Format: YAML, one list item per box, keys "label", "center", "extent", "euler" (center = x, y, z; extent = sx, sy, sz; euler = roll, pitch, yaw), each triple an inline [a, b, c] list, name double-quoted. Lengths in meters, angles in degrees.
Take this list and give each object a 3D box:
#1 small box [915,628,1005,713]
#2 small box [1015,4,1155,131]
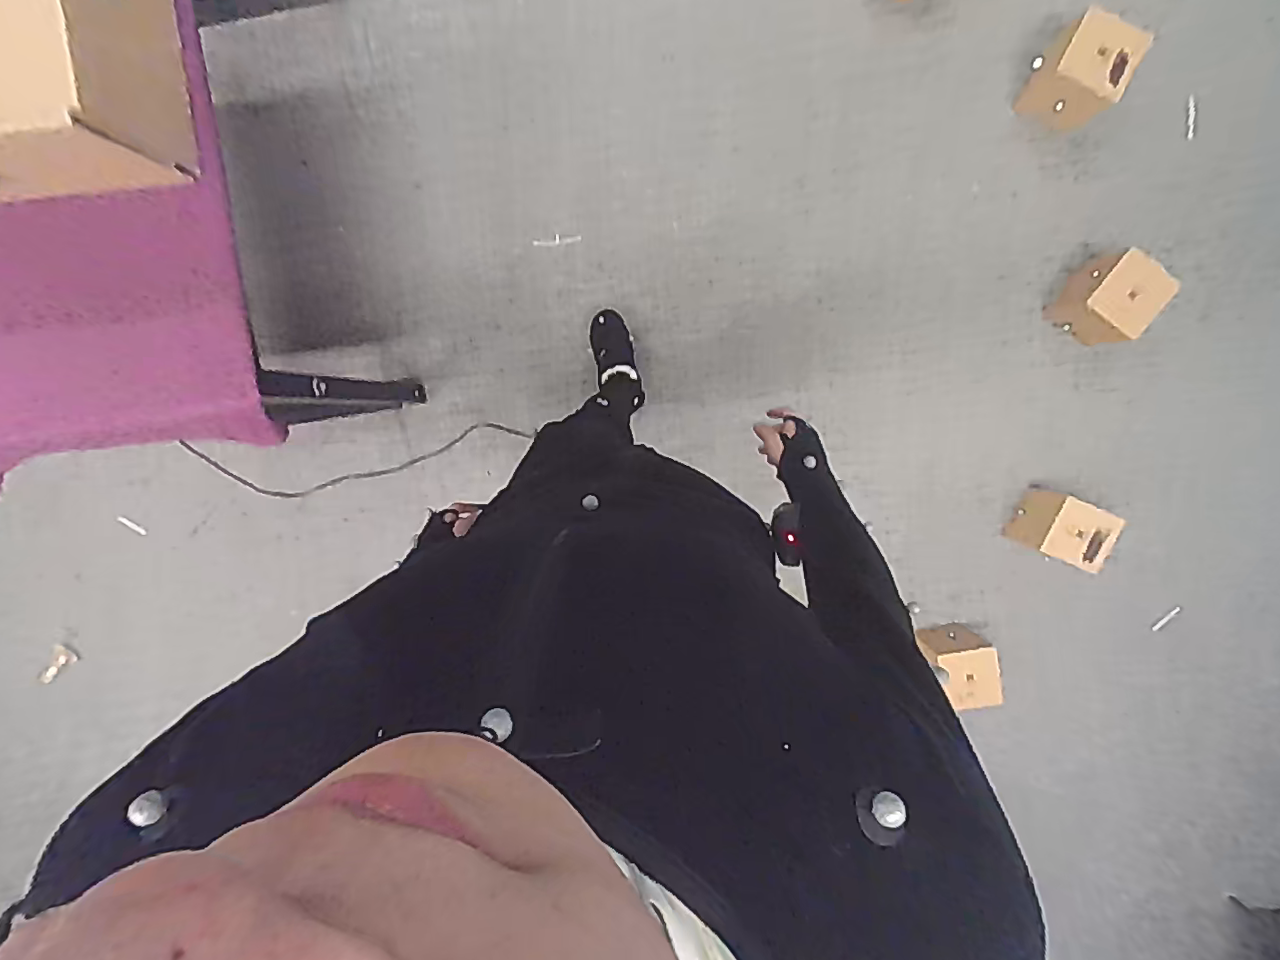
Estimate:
- label: "small box"
  center: [0.924, 0.545, 1.575]
  extent: [0.168, 0.176, 0.179]
  euler: [-10, 97, 3]
- label: "small box"
  center: [1.112, -1.026, 1.367]
  extent: [0.179, 0.176, 0.168]
  euler: [26, 97, -1]
